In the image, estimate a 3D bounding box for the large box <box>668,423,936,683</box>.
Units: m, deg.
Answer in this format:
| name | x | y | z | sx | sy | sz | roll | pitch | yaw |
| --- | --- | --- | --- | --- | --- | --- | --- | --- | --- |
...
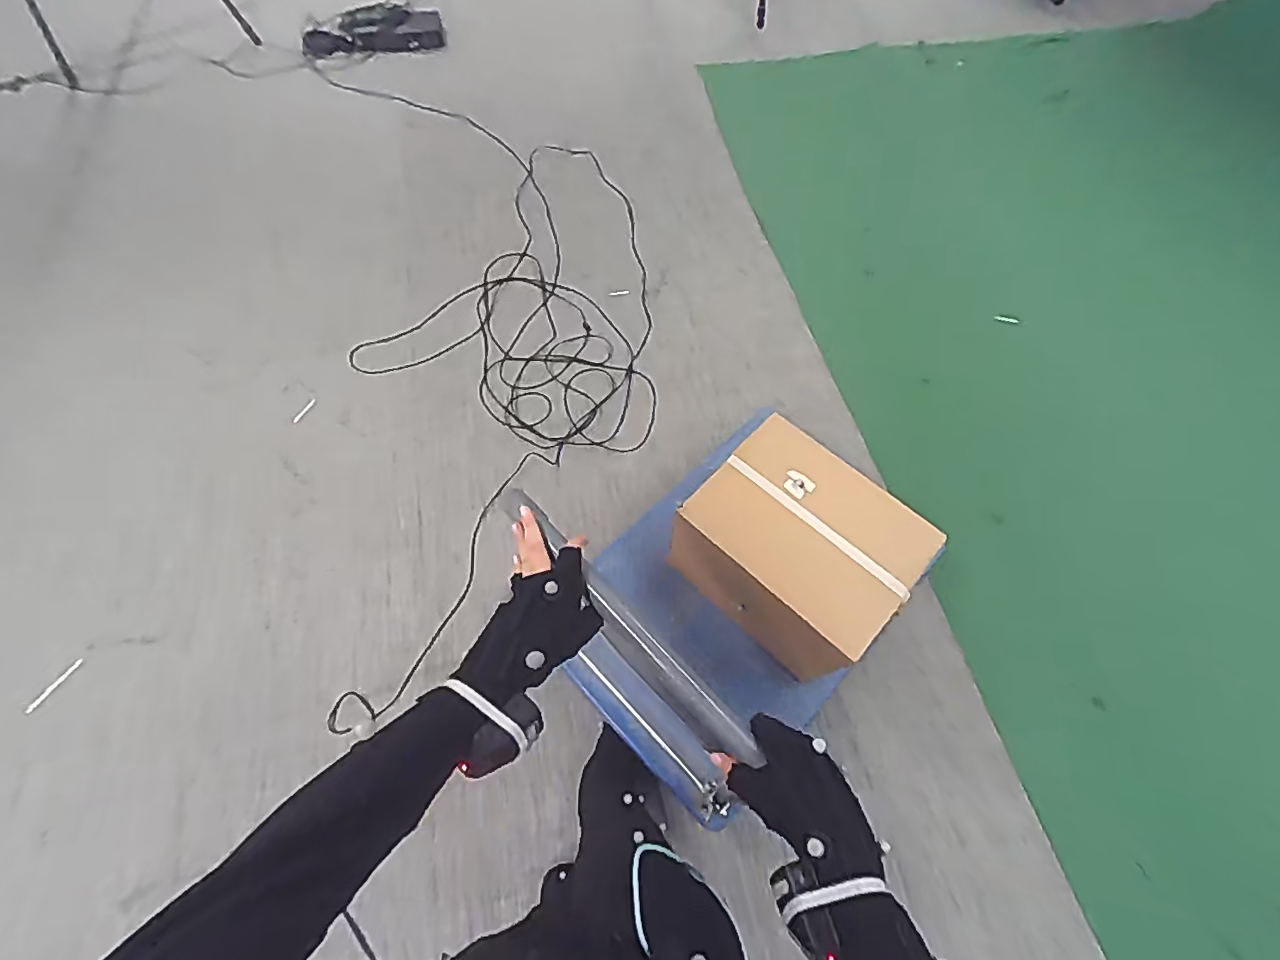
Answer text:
| name | x | y | z | sx | sy | sz | roll | pitch | yaw |
| --- | --- | --- | --- | --- | --- | --- | --- | --- | --- |
| large box | 0.311 | 0.163 | 1.154 | 0.408 | 0.320 | 0.320 | 40 | 68 | 18 |
